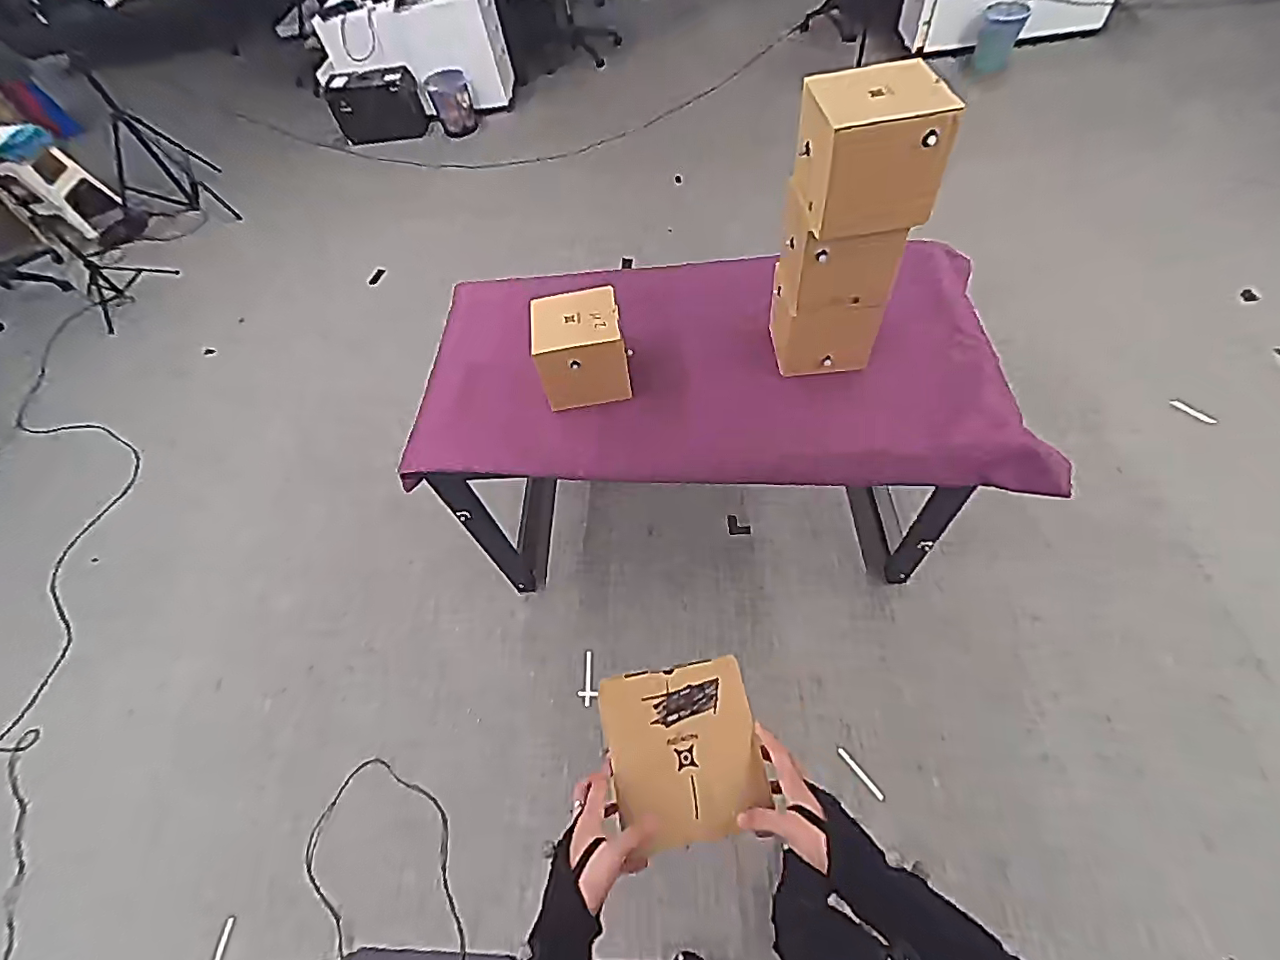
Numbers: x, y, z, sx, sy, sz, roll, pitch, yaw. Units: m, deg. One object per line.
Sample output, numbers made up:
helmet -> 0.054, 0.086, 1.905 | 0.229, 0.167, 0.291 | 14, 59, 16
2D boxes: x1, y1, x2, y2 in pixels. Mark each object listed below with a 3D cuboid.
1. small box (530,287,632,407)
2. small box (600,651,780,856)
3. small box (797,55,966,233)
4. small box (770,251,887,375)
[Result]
small box -> -0.120, -0.270, 1.124 | 0.179, 0.176, 0.168 | -9, 56, 1
small box -> 0.044, 0.323, 0.652 | 0.168, 0.176, 0.179 | -9, 64, -8
small box -> 0.343, -0.497, 0.814 | 0.179, 0.176, 0.168 | -8, 56, 3
small box -> 0.371, -0.334, 1.098 | 0.179, 0.176, 0.168 | -5, 56, 4
